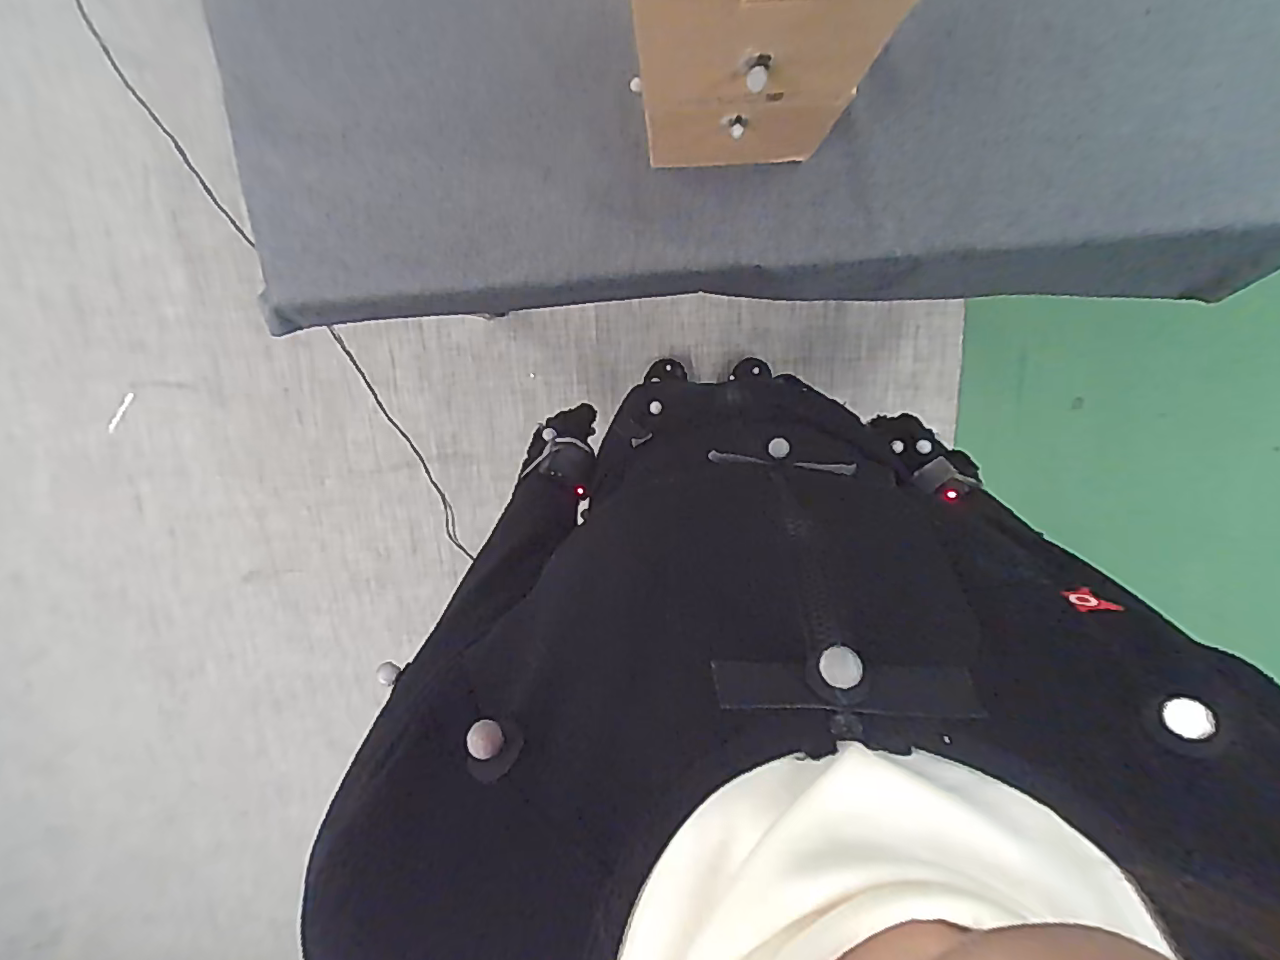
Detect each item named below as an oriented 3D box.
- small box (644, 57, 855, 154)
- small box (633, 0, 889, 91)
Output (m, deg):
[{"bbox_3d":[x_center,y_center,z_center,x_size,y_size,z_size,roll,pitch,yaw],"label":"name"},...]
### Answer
[{"bbox_3d":[0.094,-0.427,0.512,0.179,0.176,0.168,-1,105,3],"label":"small box"},{"bbox_3d":[0.081,-0.384,0.355,0.168,0.176,0.179,0,105,4],"label":"small box"}]
